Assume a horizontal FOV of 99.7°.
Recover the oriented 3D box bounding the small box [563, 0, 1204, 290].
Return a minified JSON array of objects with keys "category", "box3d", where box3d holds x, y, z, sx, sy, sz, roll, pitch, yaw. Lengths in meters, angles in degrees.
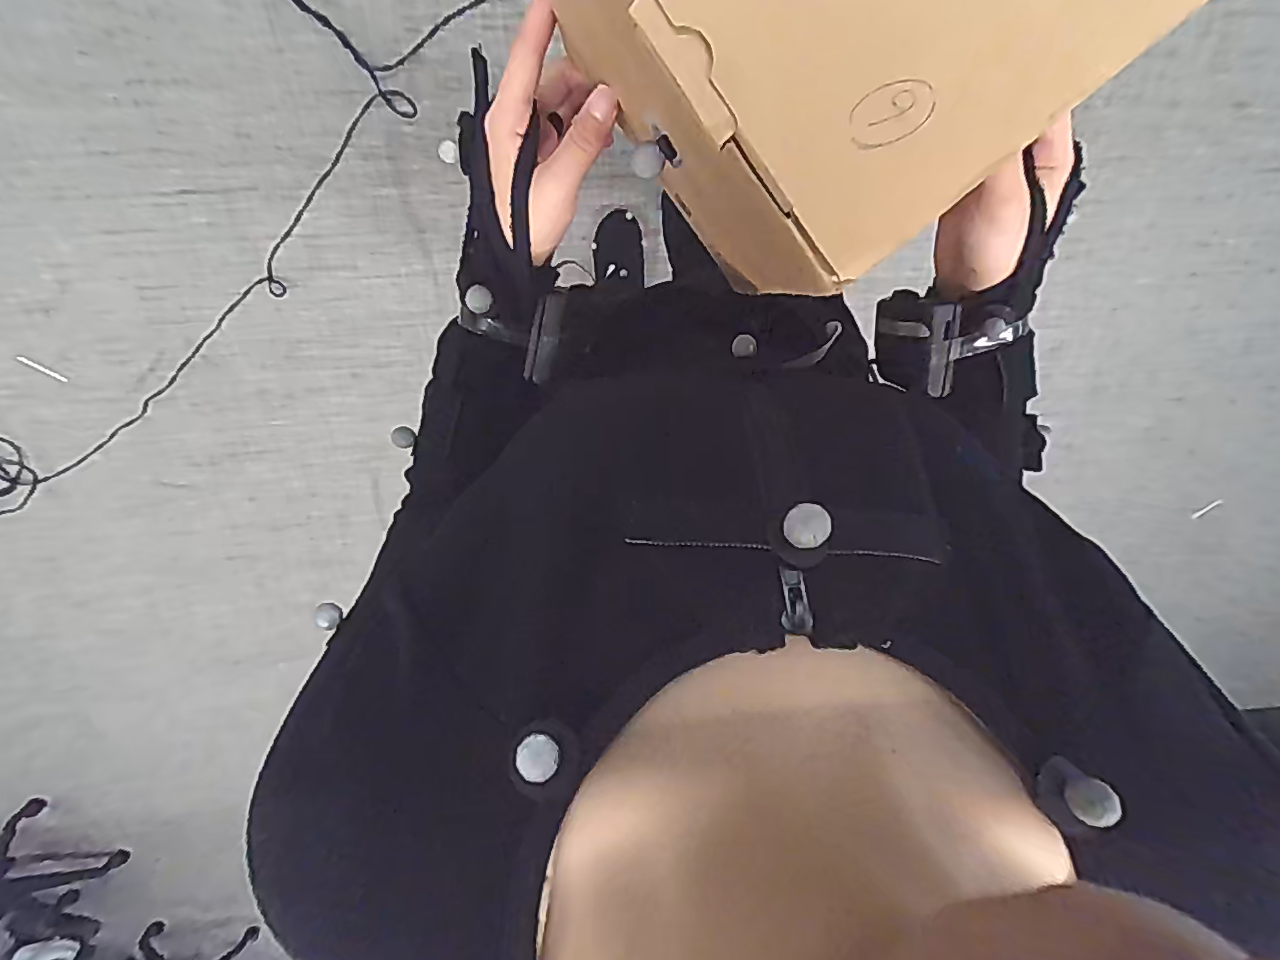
[{"category":"small box","box3d":[0.077,-0.197,0.220,0.179,0.176,0.168,-38,105,12]}]
